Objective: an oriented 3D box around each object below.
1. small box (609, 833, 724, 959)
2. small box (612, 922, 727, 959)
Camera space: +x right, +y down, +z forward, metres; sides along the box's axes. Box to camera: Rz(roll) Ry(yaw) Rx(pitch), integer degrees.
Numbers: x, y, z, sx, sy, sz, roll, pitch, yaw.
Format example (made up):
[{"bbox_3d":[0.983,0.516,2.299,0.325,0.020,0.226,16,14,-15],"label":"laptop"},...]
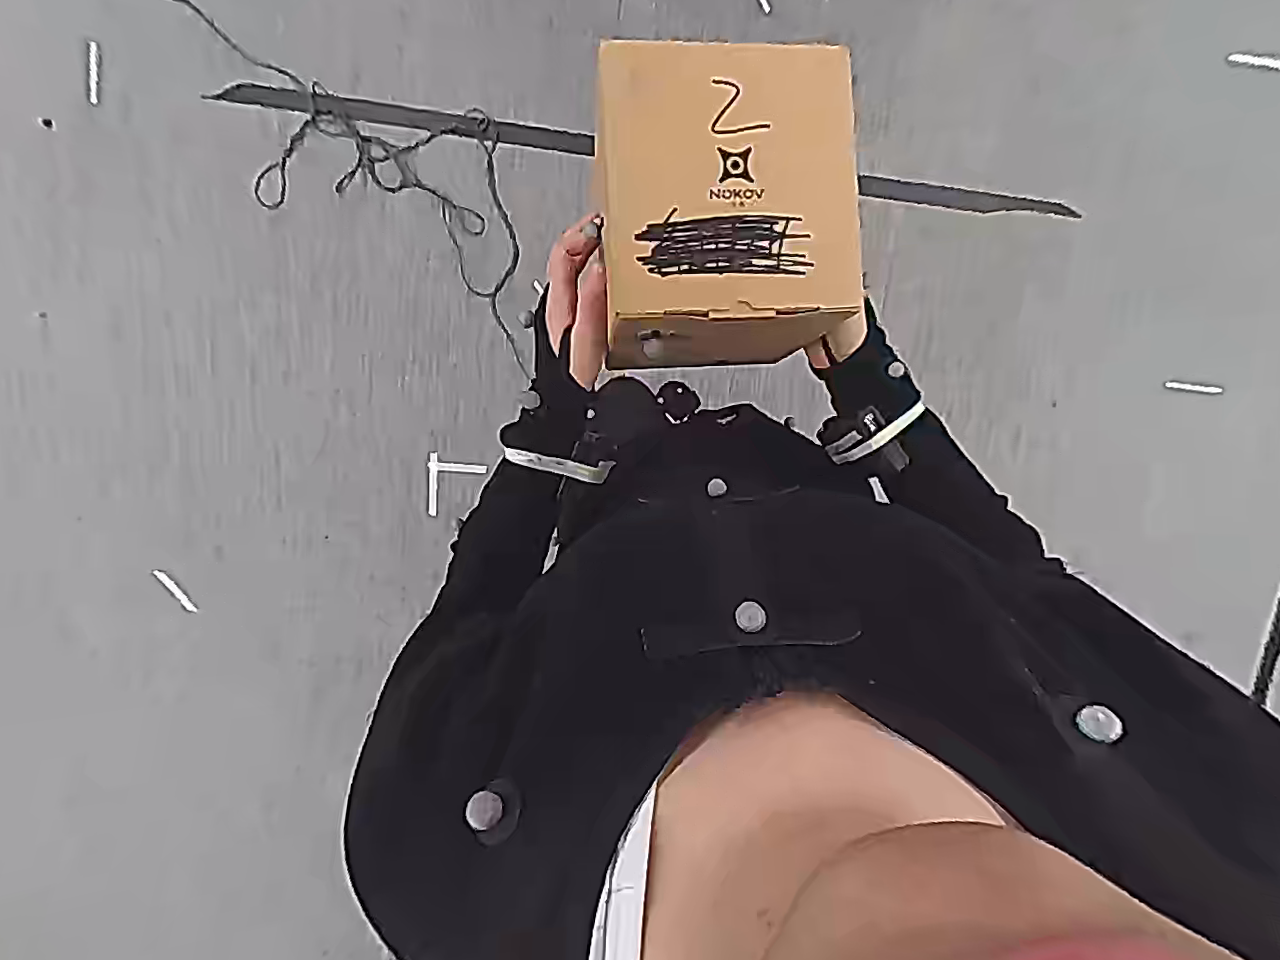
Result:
[{"bbox_3d":[0.038,0.737,0.903,0.168,0.176,0.179,5,98,-1],"label":"small box"},{"bbox_3d":[0.038,0.758,0.741,0.168,0.176,0.179,6,99,-1],"label":"small box"}]
